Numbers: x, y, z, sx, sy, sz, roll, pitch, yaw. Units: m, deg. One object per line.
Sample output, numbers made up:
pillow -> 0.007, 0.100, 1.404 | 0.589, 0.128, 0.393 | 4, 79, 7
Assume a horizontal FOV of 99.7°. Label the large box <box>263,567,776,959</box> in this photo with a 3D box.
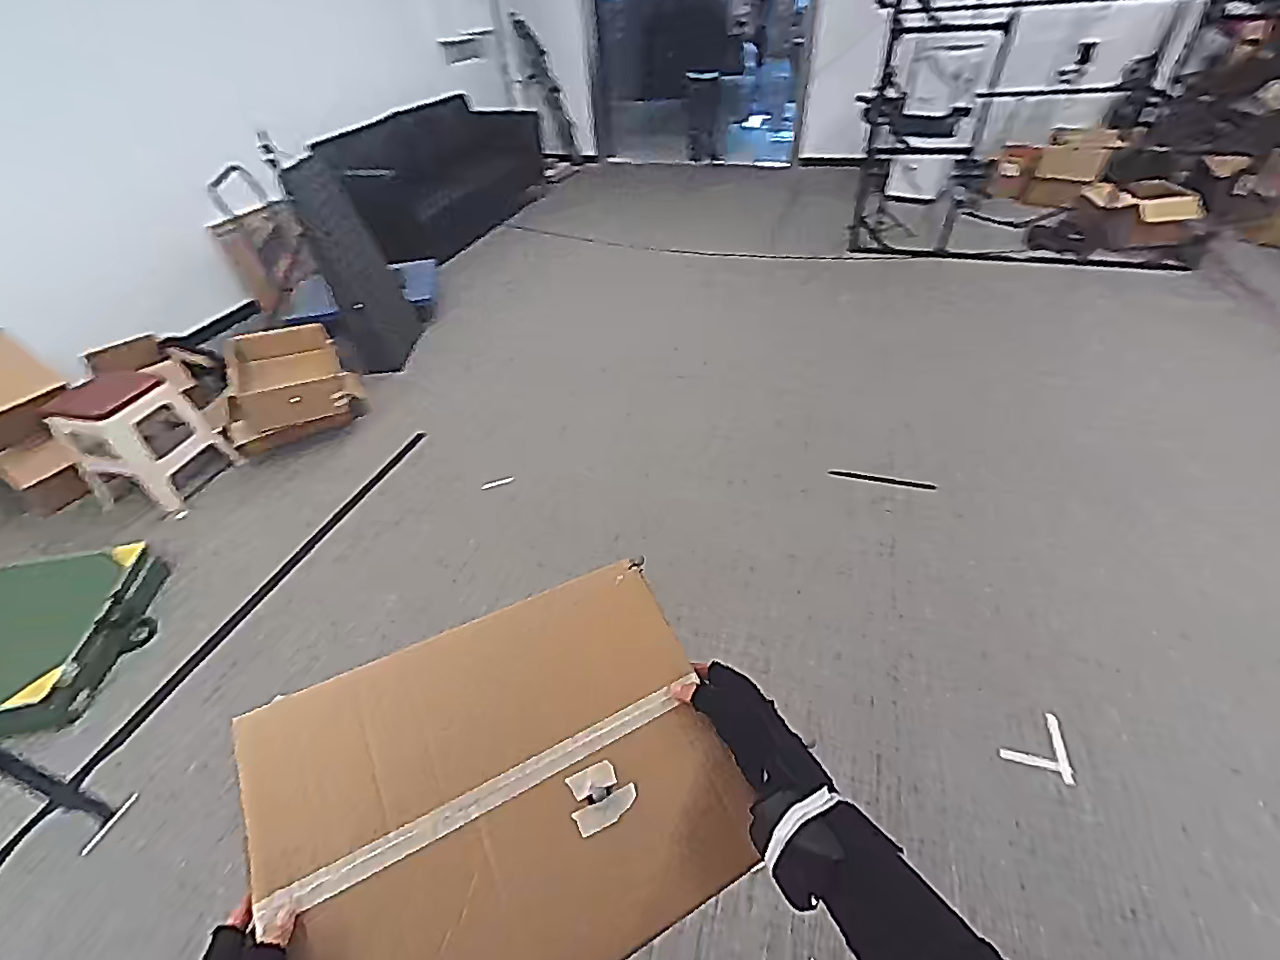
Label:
large box -> -0.131, 0.363, 0.625 | 0.408, 0.320, 0.320 | -19, 62, -21
